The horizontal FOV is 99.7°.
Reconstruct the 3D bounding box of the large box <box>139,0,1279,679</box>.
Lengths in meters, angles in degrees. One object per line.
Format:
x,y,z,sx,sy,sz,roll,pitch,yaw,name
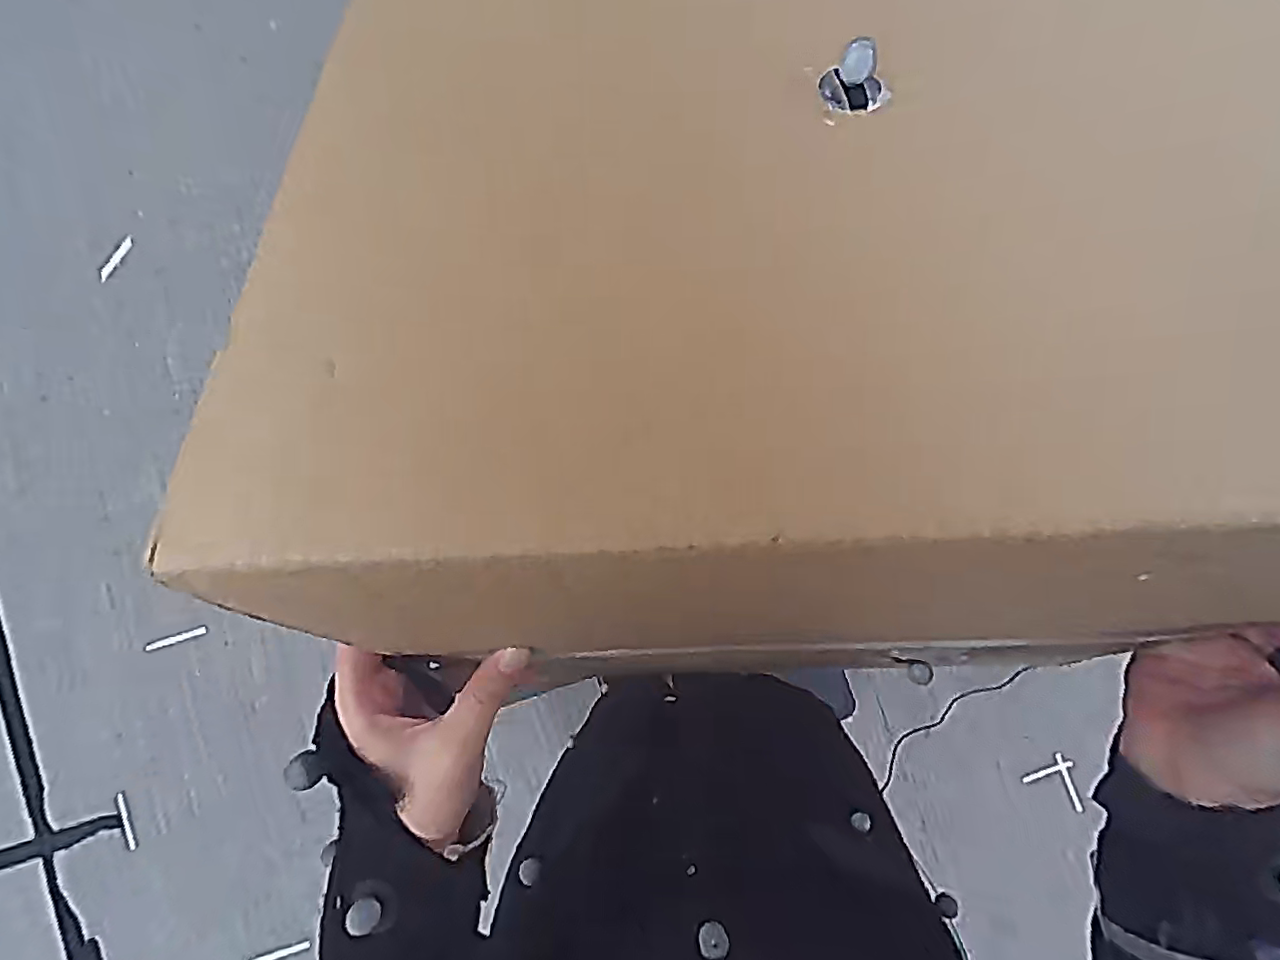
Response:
0.067,-0.066,0.324,0.408,0.320,0.320,-4,67,2,large box
